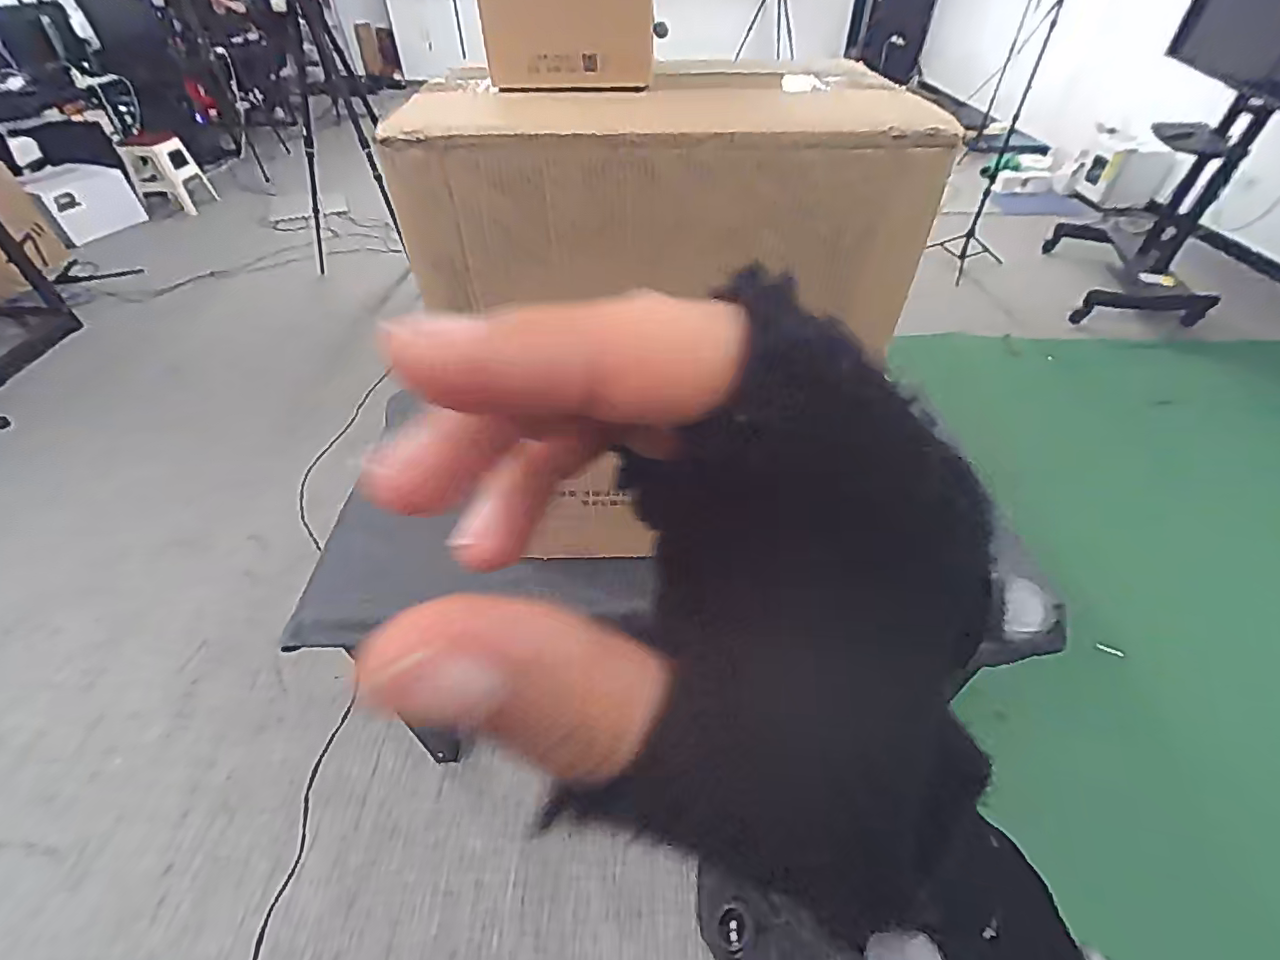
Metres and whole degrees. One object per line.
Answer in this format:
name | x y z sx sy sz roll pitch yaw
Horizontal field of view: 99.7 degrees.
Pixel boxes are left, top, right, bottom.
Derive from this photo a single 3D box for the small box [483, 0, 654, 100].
small box | -0.069 -0.517 0.568 0.168 0.176 0.179 0 43 2
